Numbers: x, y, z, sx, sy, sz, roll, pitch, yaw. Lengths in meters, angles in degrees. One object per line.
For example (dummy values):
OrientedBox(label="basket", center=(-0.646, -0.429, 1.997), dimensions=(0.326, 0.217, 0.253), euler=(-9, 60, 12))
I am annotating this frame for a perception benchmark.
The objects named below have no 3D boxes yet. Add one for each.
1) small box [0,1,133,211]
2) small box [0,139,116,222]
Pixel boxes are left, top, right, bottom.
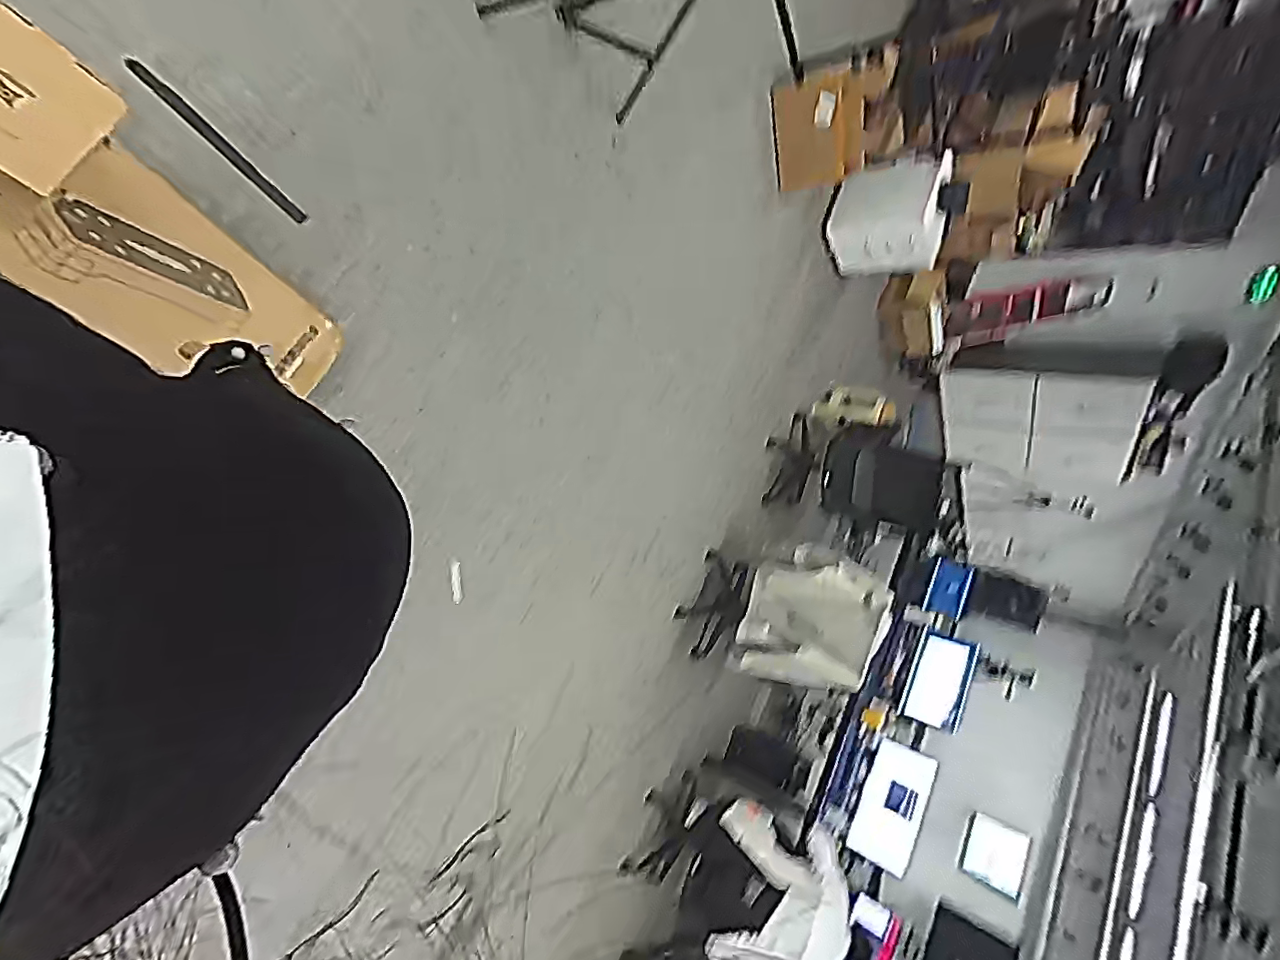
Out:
OrientedBox(label="small box", center=(-0.841, -0.491, 0.718), dimensions=(0.168, 0.176, 0.179), euler=(42, 68, -48))
OrientedBox(label="small box", center=(-0.964, -0.519, 0.821), dimensions=(0.179, 0.176, 0.168), euler=(-60, 140, -19))
